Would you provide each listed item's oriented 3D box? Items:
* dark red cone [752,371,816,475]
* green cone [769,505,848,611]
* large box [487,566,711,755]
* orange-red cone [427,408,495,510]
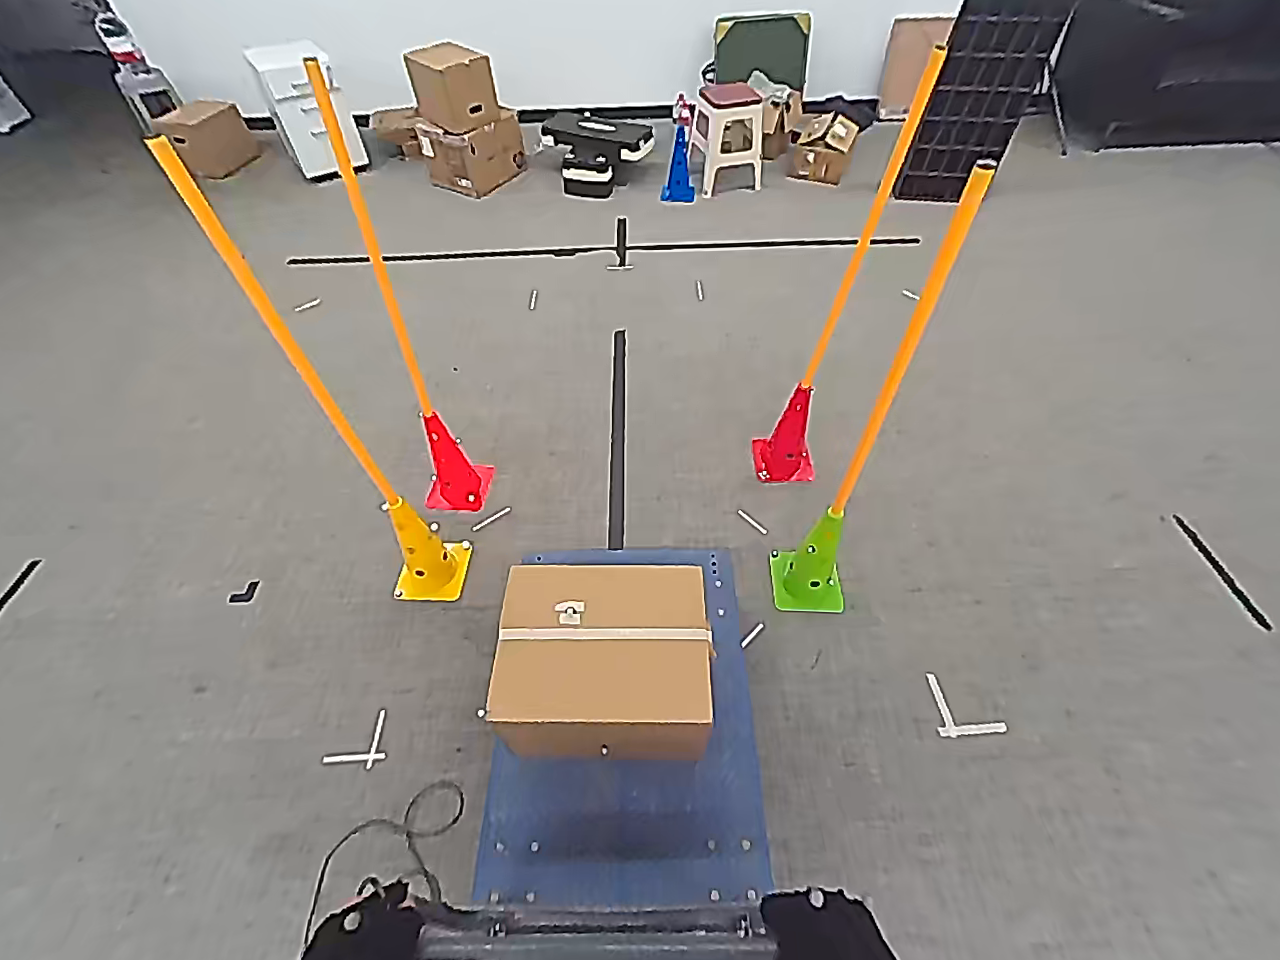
[{"bbox_3d":[0.510,-0.196,1.792,0.201,0.394,0.202,0,52,-2],"label":"dark red cone"},{"bbox_3d":[0.498,0.193,1.502,0.202,0.368,0.200,3,51,1],"label":"green cone"},{"bbox_3d":[-0.068,0.396,1.162,0.408,0.320,0.320,0,51,2],"label":"large box"},{"bbox_3d":[-0.619,-0.092,1.749,0.198,0.360,0.199,5,50,4],"label":"orange-red cone"}]
